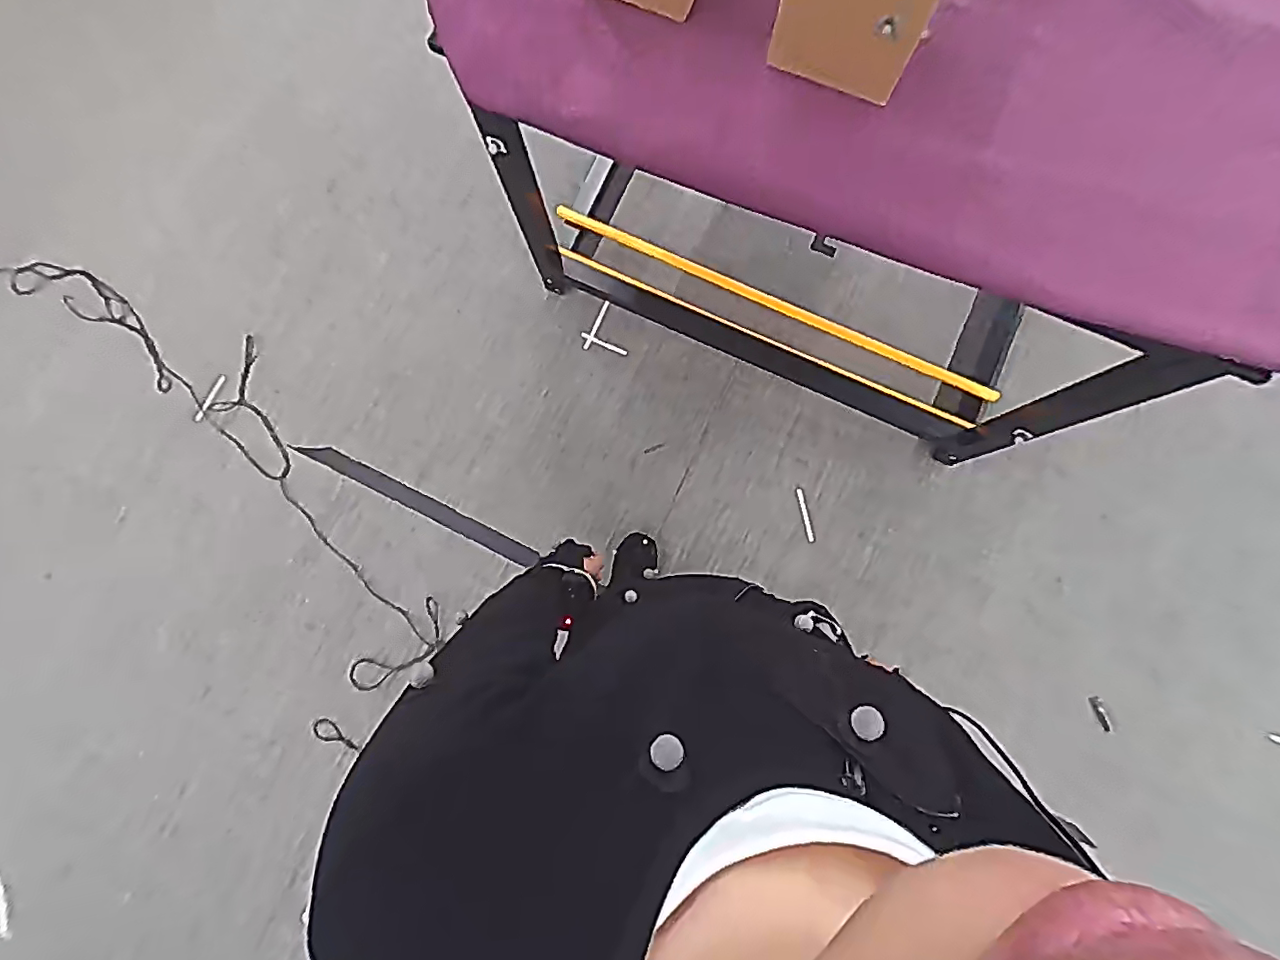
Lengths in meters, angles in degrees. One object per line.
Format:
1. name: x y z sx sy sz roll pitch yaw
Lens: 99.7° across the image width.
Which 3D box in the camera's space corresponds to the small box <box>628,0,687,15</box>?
1. small box: 0.014 -0.767 0.702 0.179 0.176 0.168 22 82 2
